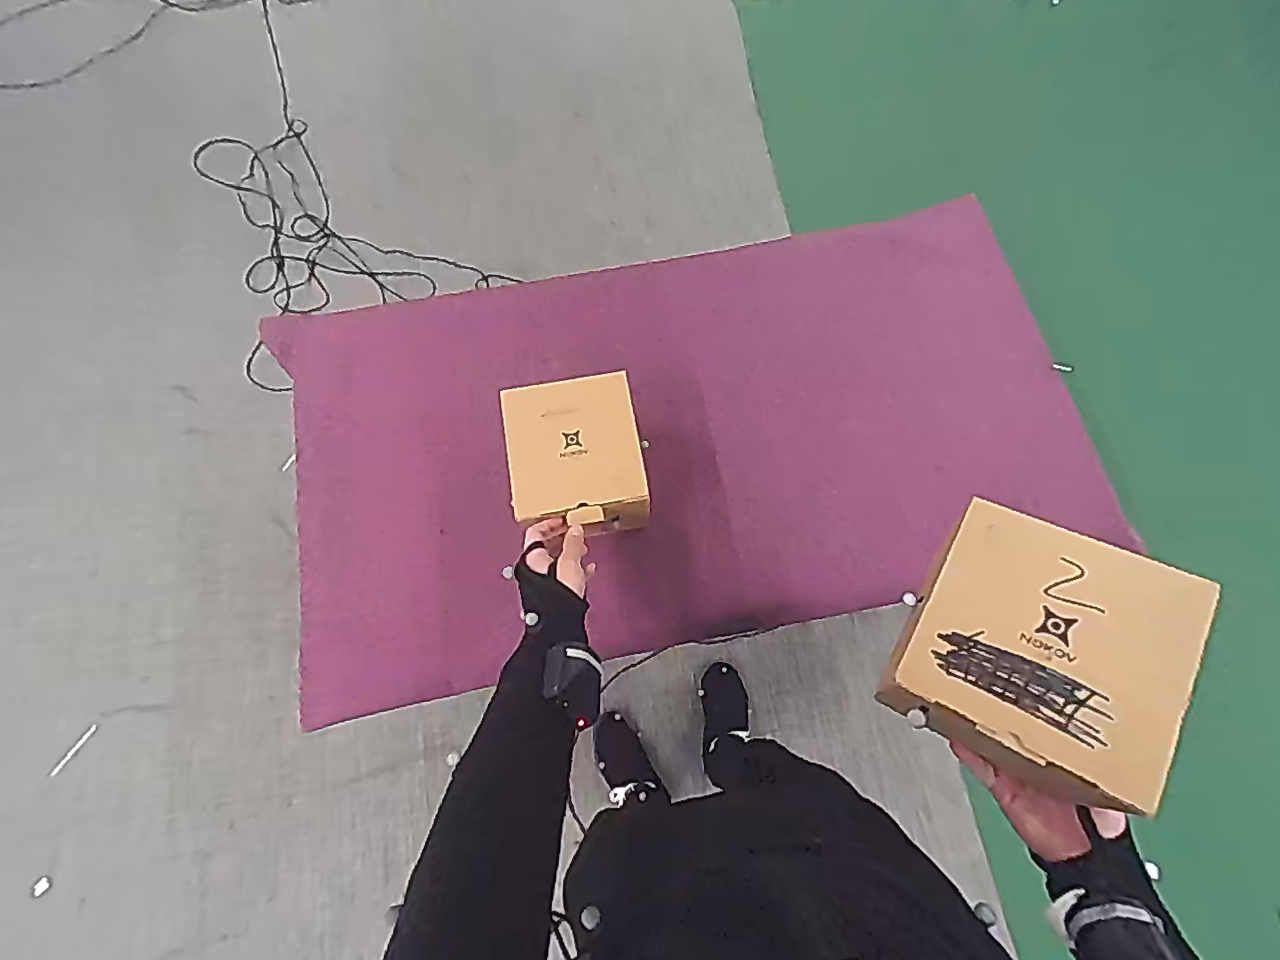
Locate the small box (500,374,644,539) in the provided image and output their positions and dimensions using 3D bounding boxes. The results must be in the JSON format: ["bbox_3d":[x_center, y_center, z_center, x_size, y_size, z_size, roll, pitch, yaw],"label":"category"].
[{"bbox_3d":[-0.087,-0.022,0.752,0.168,0.176,0.179,-9,72,-4],"label":"small box"}]
